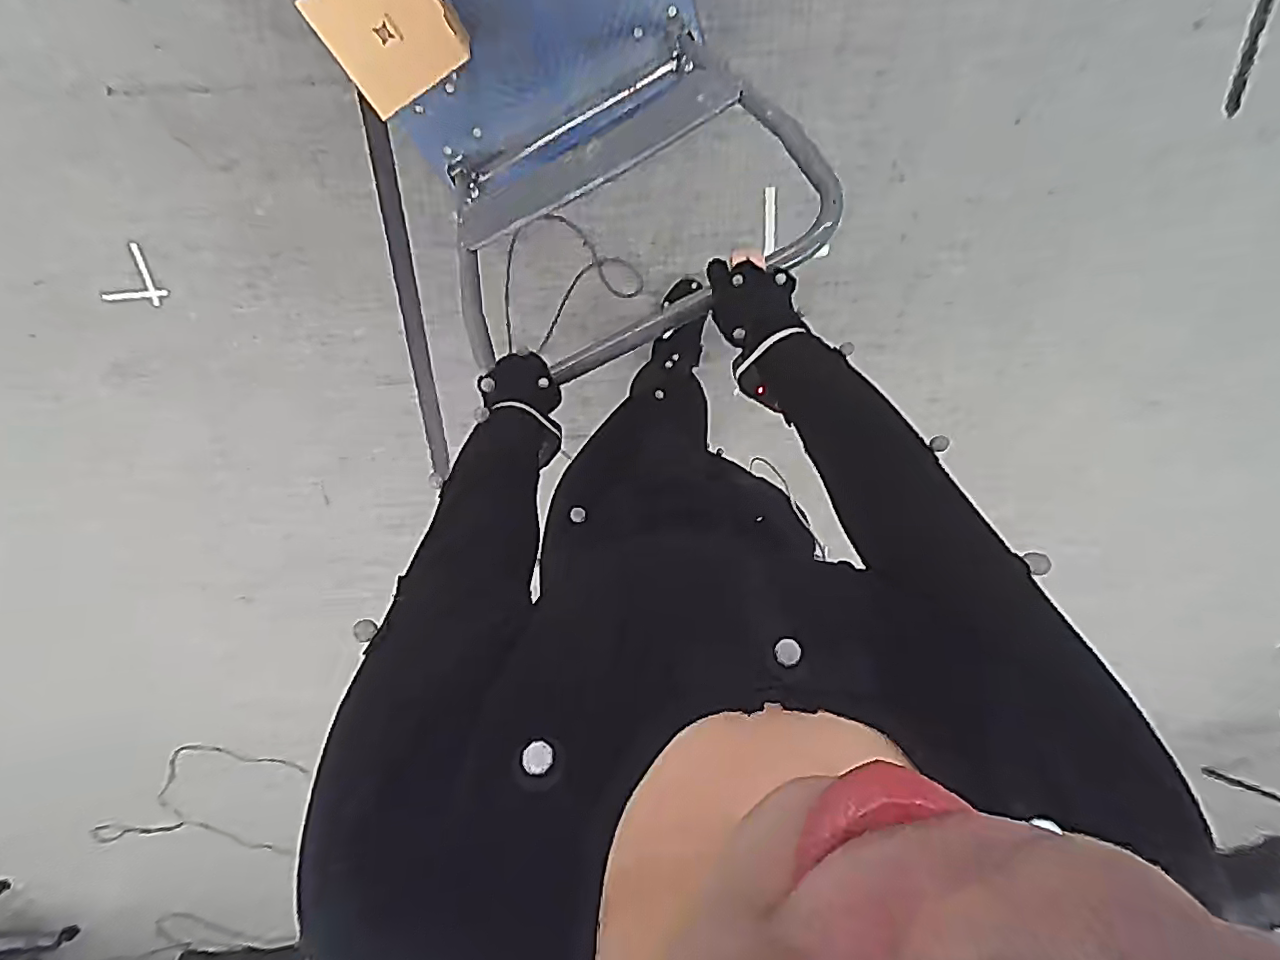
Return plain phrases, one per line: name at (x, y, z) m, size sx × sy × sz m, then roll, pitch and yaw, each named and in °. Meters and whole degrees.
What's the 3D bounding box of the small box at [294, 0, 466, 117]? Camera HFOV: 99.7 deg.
small box at (-0.394, -0.721, 0.853) m, size 0.179 × 0.176 × 0.168 m, roll -28°, pitch 137°, yaw 11°
